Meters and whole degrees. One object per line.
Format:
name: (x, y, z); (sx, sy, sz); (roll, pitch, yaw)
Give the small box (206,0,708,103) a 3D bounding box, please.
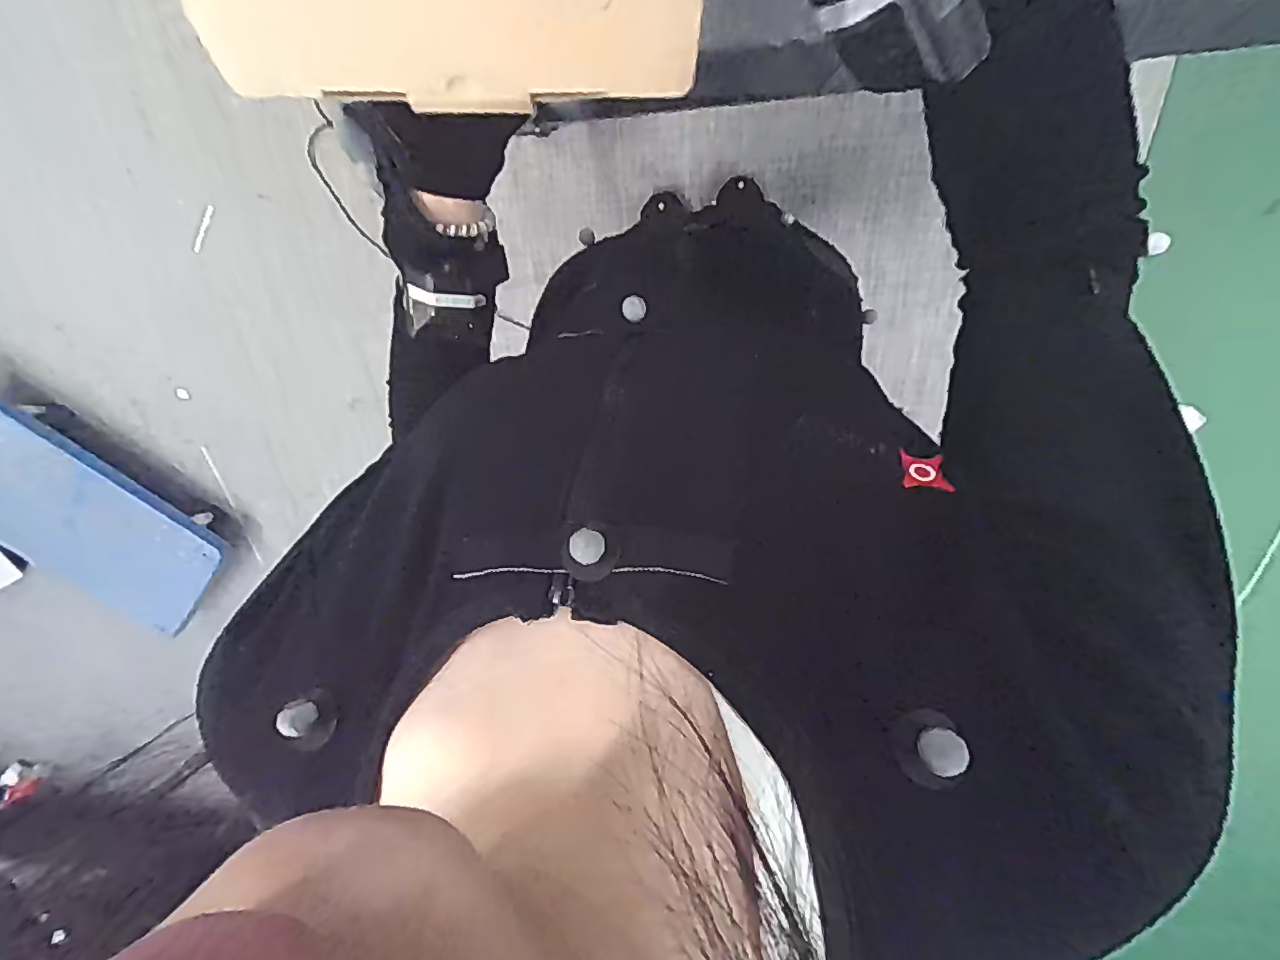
small box: (-0.061, -0.255, 0.166); (0.168, 0.176, 0.179); (-3, 151, -3)
